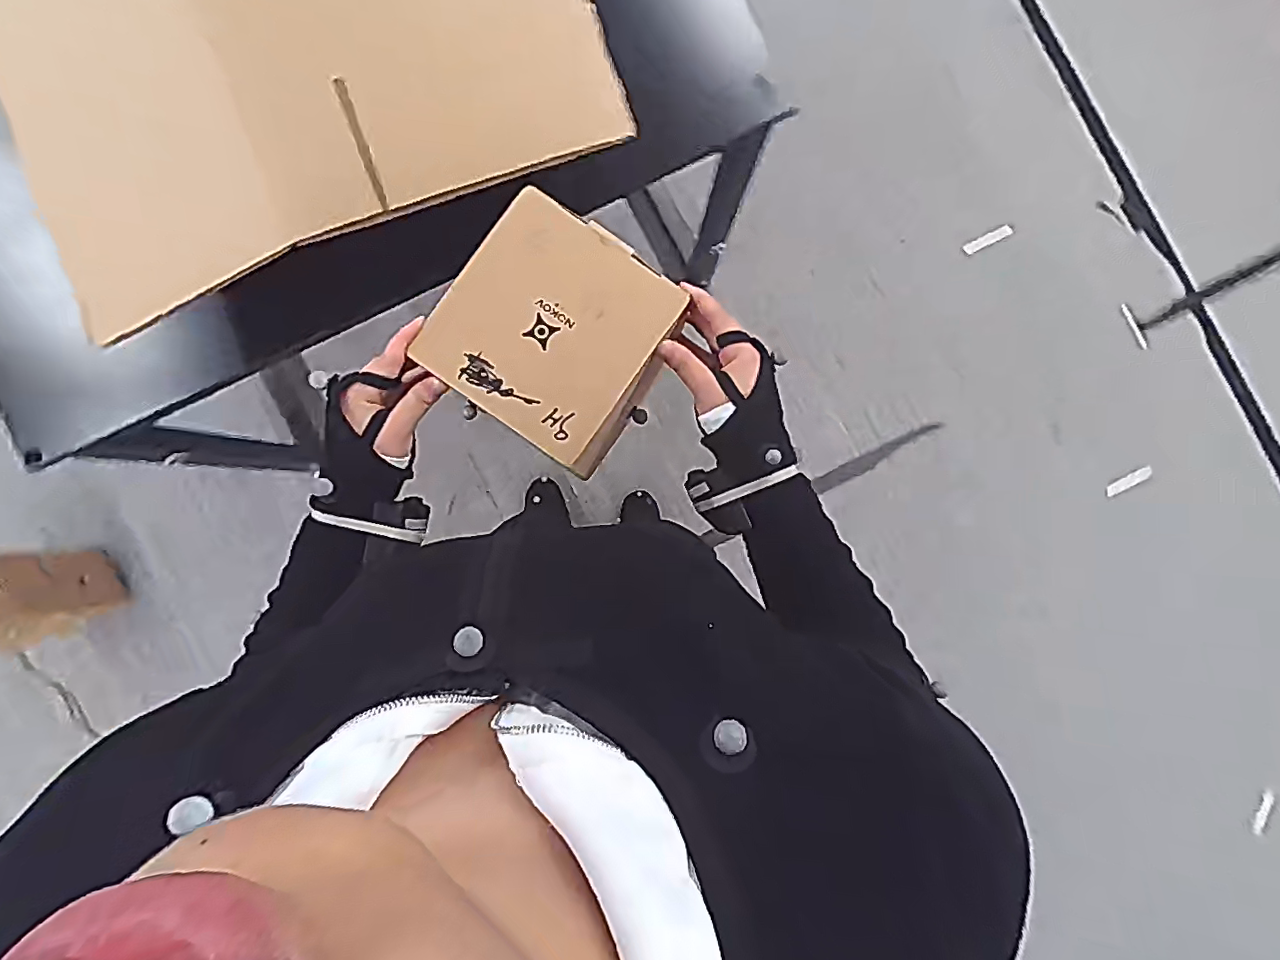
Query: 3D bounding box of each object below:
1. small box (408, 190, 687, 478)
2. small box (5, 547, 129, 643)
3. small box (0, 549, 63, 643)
[{"bbox_3d":[-0.077,-0.120,0.518,0.168,0.176,0.179,34,85,2],"label":"small box"},{"bbox_3d":[-1.473,0.279,1.366,0.168,0.176,0.179,-30,90,-2],"label":"small box"},{"bbox_3d":[-1.472,0.270,1.203,0.168,0.176,0.179,-33,88,-3],"label":"small box"}]
